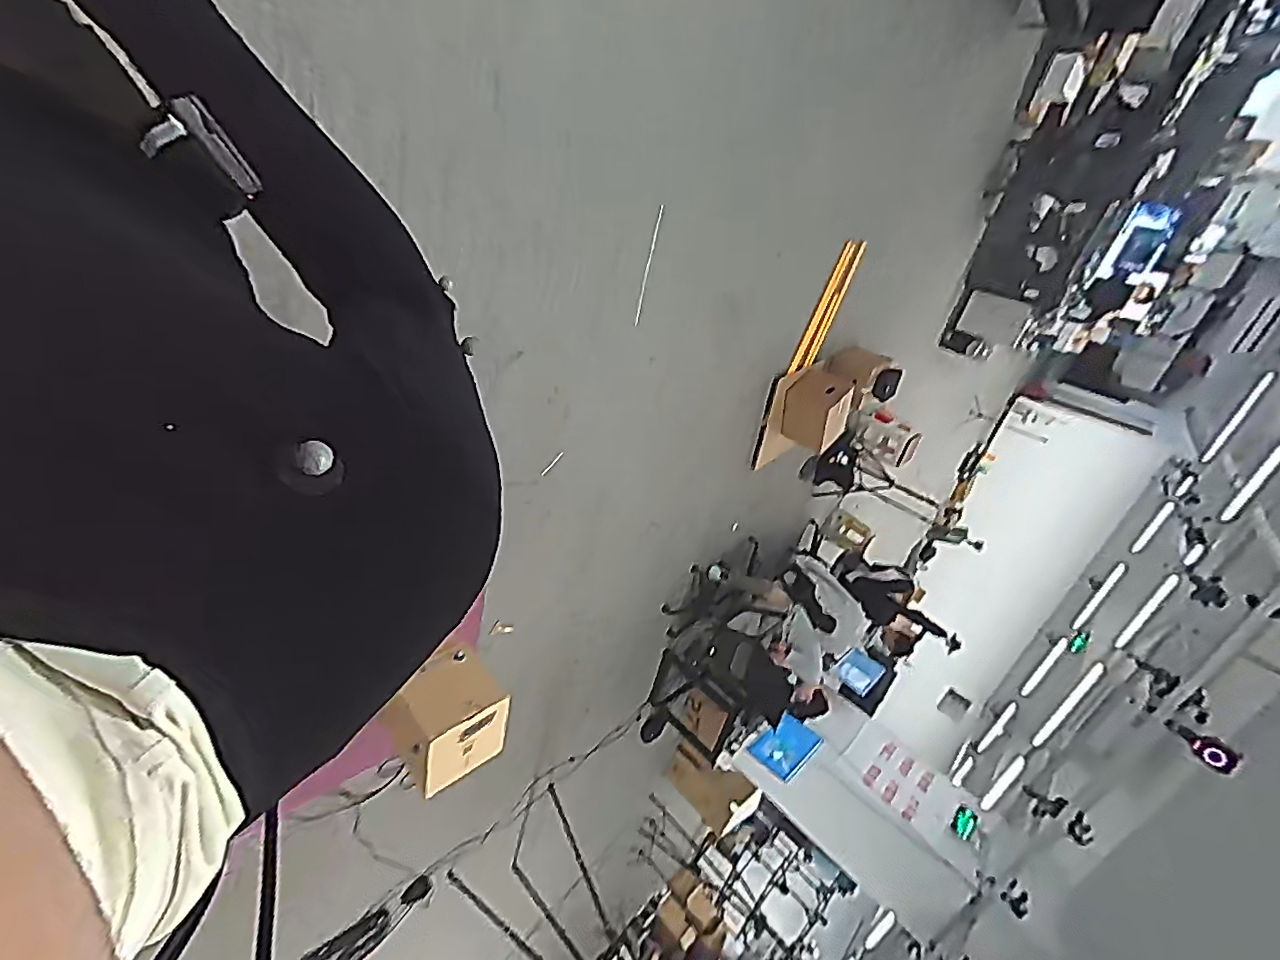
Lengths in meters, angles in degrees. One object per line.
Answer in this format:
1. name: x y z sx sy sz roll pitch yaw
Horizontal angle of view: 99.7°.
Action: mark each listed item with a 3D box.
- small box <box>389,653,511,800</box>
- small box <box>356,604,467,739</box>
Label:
1. small box: -0.376 0.468 1.062 0.168 0.176 0.179 -16 131 -44
2. small box: -0.491 0.400 1.157 0.168 0.176 0.179 -16 129 -44
